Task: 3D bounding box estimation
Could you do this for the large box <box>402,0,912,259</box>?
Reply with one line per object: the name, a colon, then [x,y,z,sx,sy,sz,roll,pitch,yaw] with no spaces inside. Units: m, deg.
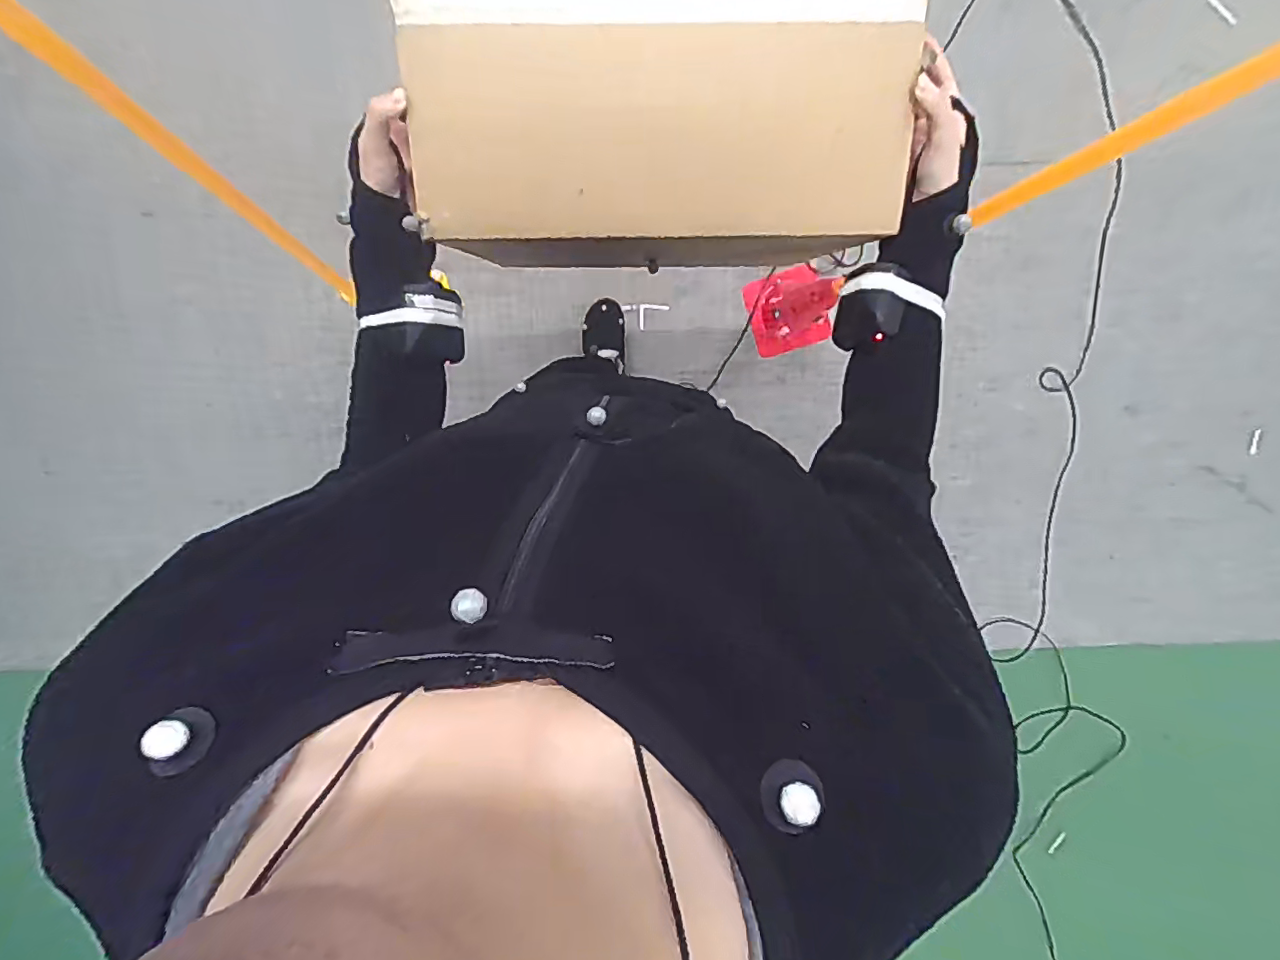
large box: [0.014,-0.407,0.562,0.408,0.320,0.320,-1,107,-1]
